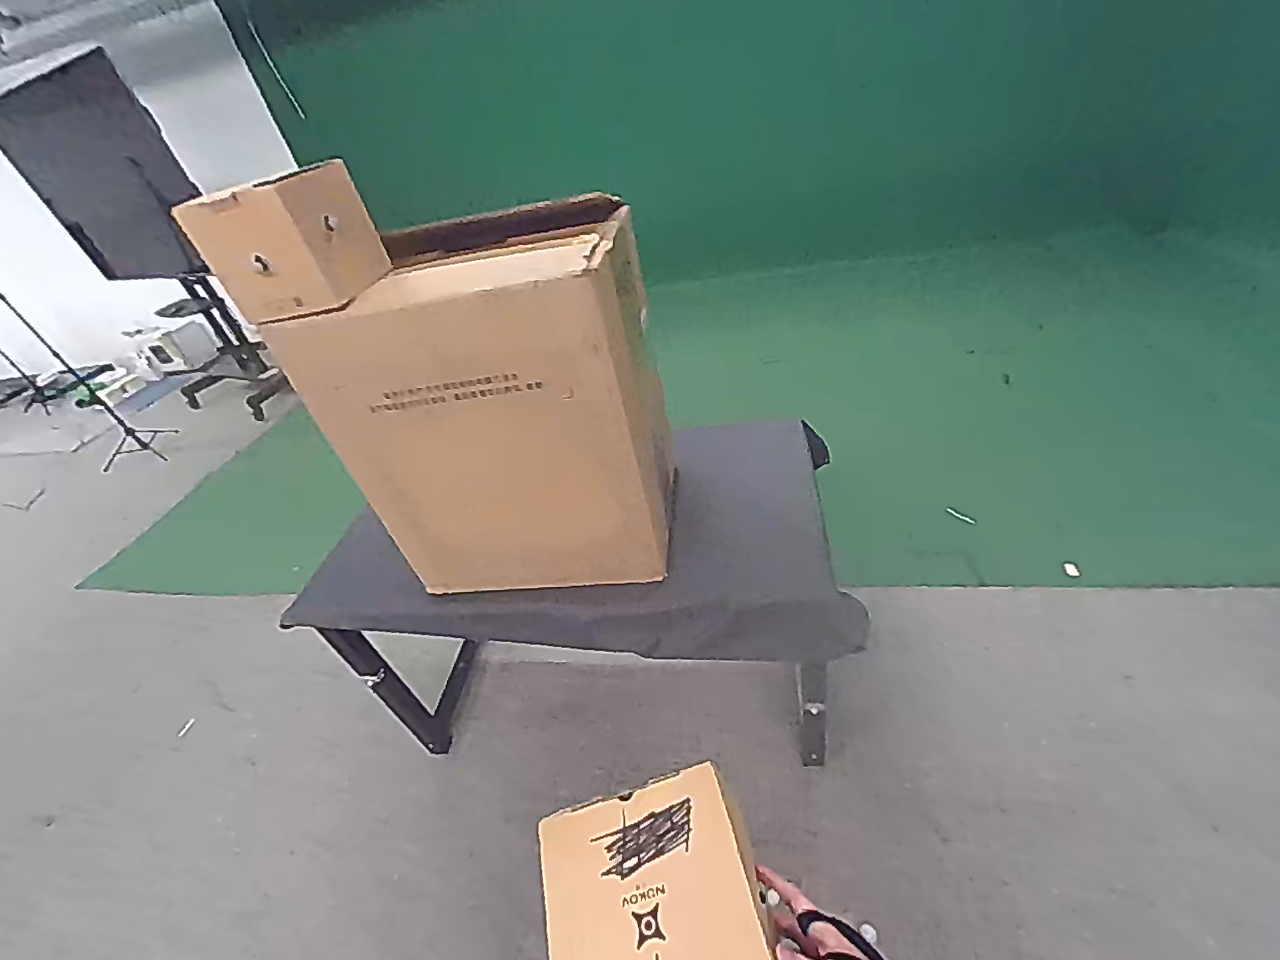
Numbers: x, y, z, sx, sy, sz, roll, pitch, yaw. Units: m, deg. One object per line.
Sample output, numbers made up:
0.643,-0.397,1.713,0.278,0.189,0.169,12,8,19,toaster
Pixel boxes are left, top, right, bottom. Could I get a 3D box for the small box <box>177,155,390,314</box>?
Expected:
-0.517,-0.364,0.818,0.168,0.176,0.179,-5,39,13,small box
